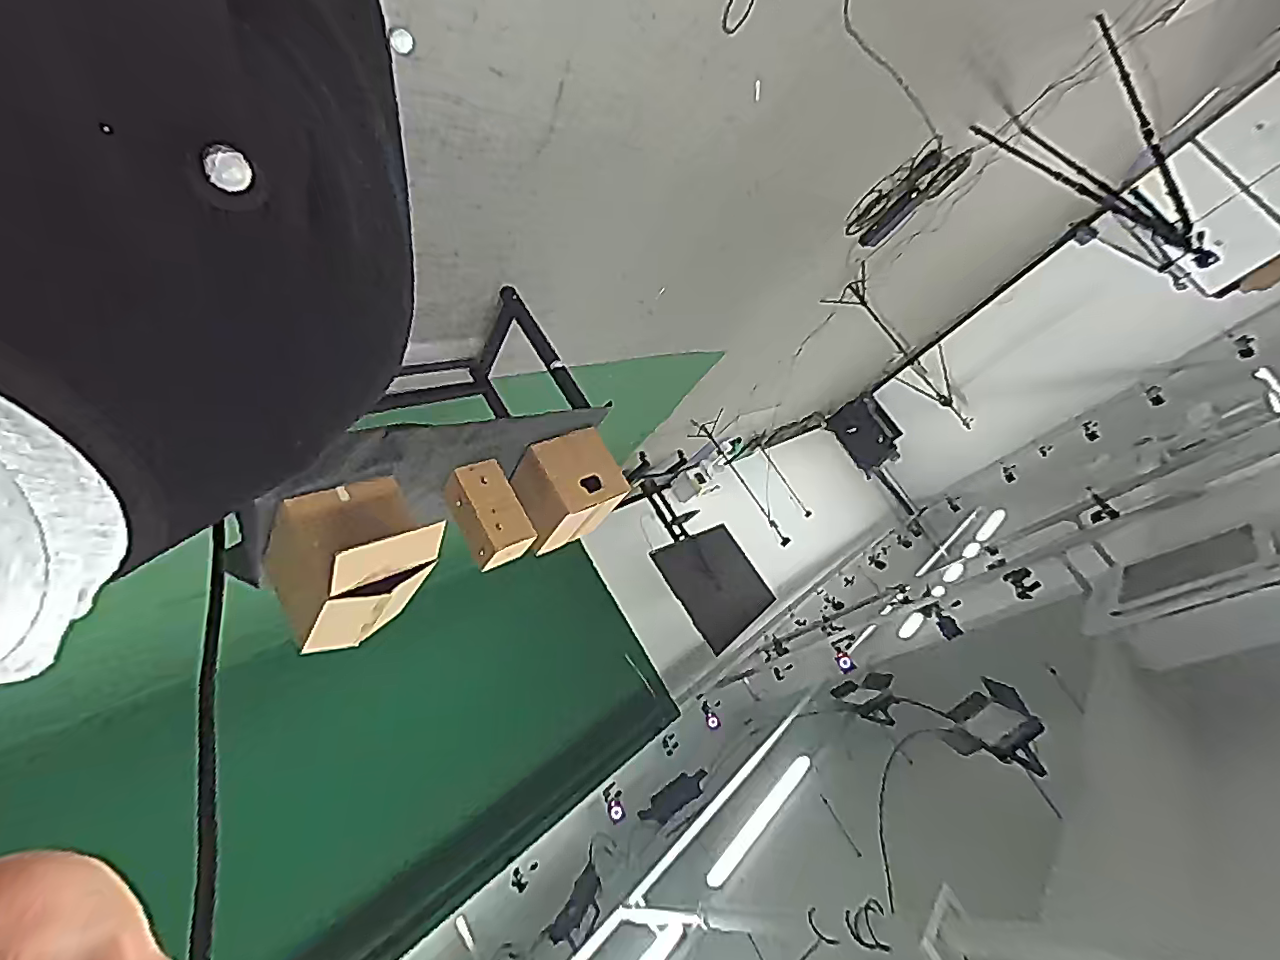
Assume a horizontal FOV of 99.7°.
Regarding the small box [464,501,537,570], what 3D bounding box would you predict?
[{"bbox_3d":[-0.498,0.188,1.912,0.168,0.176,0.179,-20,164,-42],"label":"small box"}]
